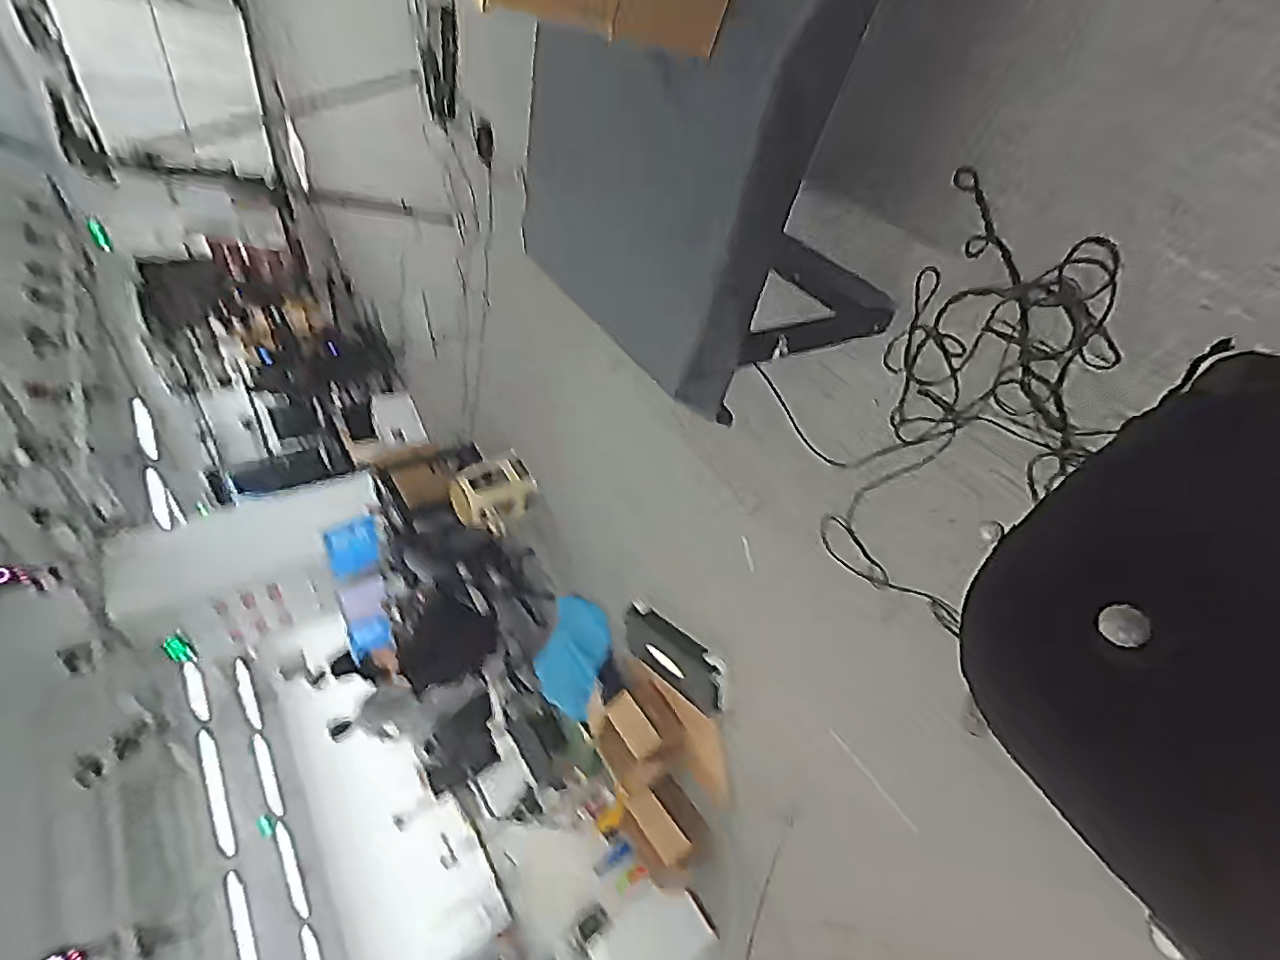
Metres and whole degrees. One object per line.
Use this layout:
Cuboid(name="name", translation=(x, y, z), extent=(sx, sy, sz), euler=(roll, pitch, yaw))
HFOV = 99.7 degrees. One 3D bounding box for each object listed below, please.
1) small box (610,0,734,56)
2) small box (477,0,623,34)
Cuboid(name="small box", translation=(0.024, -0.675, 0.678), extent=(0.168, 0.176, 0.179), euler=(56, 146, 24))
Cuboid(name="small box", translation=(-0.109, -0.633, 0.593), extent=(0.168, 0.176, 0.179), euler=(56, 144, 24))
